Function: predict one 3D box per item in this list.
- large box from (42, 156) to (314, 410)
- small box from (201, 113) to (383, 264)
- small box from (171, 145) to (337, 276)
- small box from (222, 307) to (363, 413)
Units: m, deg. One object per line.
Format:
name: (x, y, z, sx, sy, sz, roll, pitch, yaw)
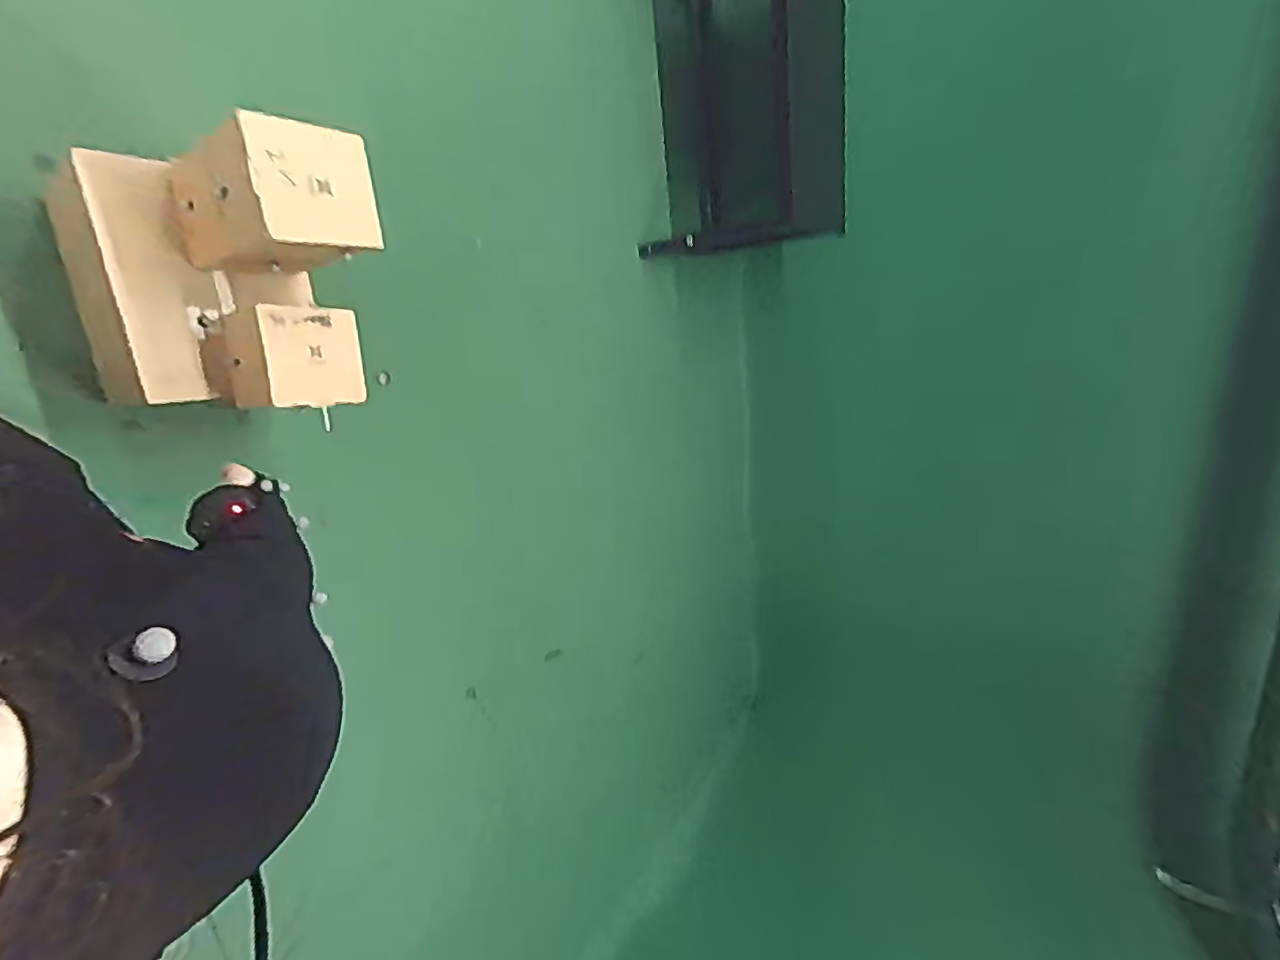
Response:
large box: (-0.891, -0.364, 1.083, 0.320, 0.320, 0.408, -22, 113, -50)
small box: (-0.544, -0.442, 0.853, 0.179, 0.176, 0.168, -23, 113, -50)
small box: (-0.675, -0.459, 0.952, 0.179, 0.176, 0.168, -22, 113, -51)
small box: (-0.650, -0.219, 1.015, 0.168, 0.176, 0.179, -15, 106, -53)
